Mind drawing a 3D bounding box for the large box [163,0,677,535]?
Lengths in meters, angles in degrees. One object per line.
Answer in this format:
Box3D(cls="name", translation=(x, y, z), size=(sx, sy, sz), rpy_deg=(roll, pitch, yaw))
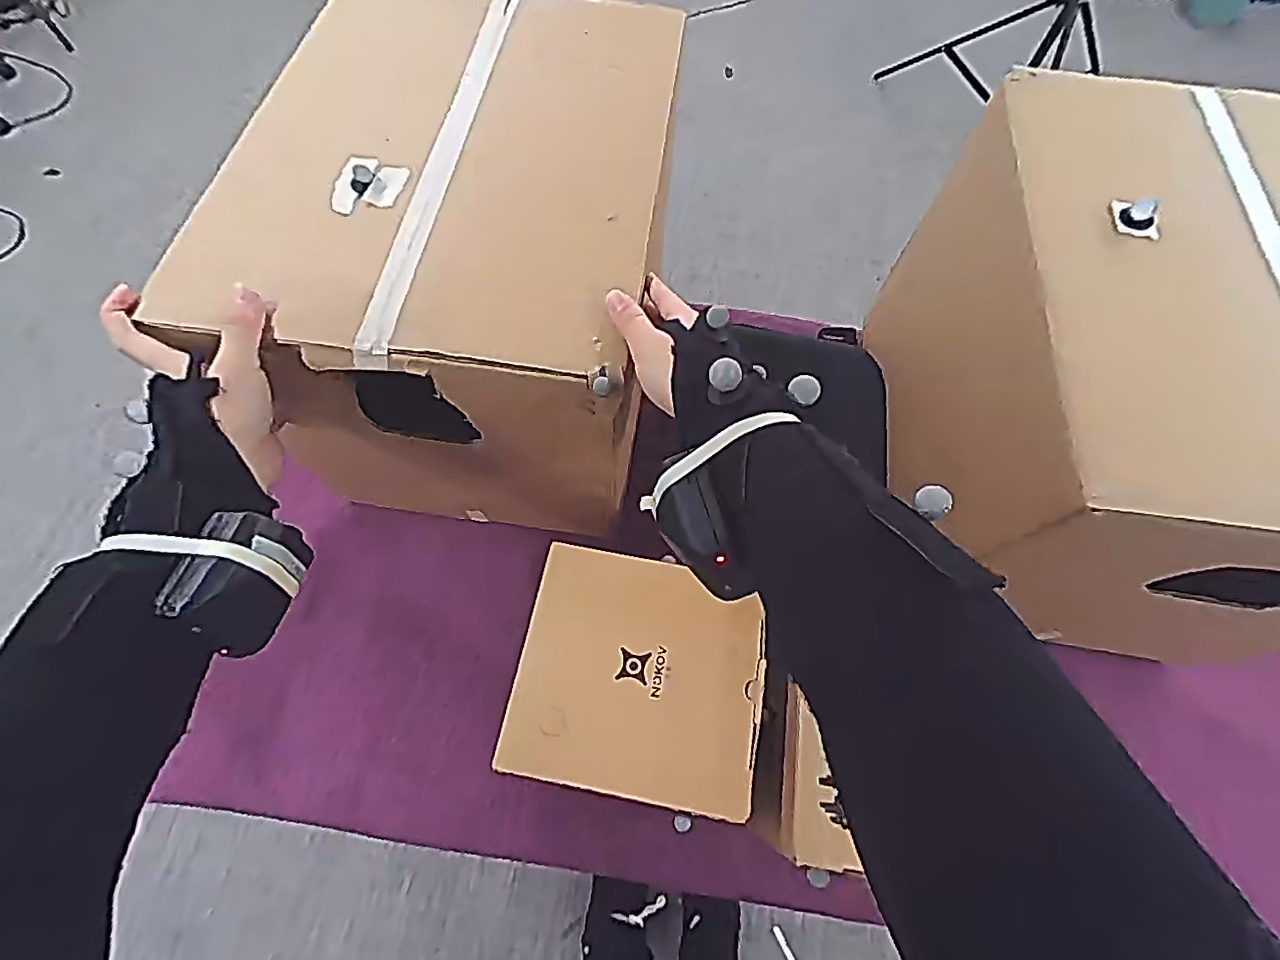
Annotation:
Box3D(cls="large box", translation=(-0.143, -0.190, 0.557), size=(0.320, 0.320, 0.408), rpy_deg=(6, 67, 1))
